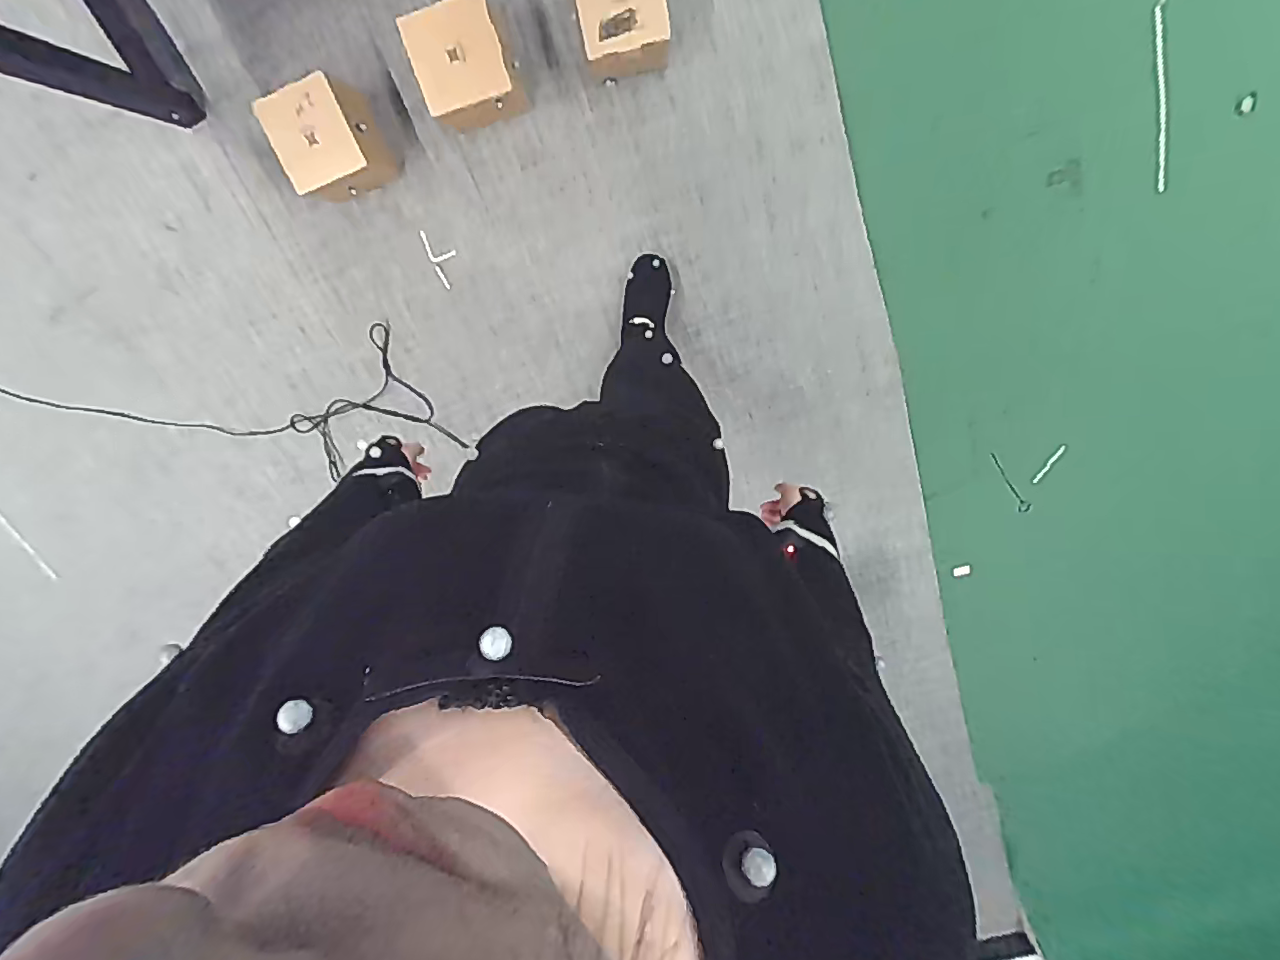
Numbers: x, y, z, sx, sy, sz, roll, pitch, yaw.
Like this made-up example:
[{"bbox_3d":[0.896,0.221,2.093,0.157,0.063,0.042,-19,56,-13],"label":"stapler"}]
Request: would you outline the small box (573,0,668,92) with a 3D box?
[{"bbox_3d":[-0.039,-0.909,1.083,0.168,0.176,0.179,-10,110,4],"label":"small box"}]
